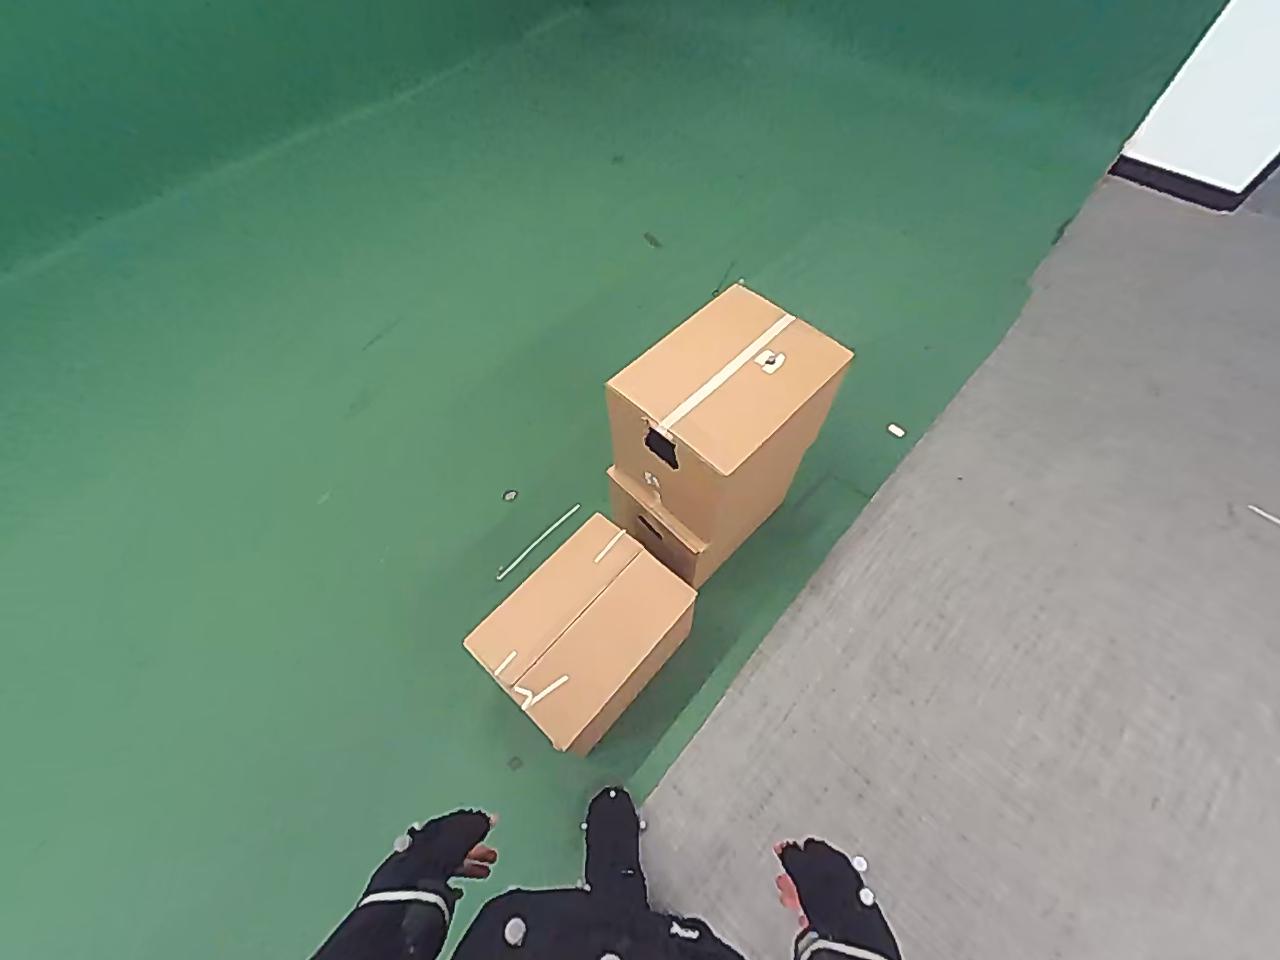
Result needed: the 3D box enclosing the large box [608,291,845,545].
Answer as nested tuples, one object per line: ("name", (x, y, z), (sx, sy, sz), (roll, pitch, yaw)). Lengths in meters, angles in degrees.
("large box", (0.178, -0.135, 1.210), (0.320, 0.320, 0.408), (40, 67, 20))
